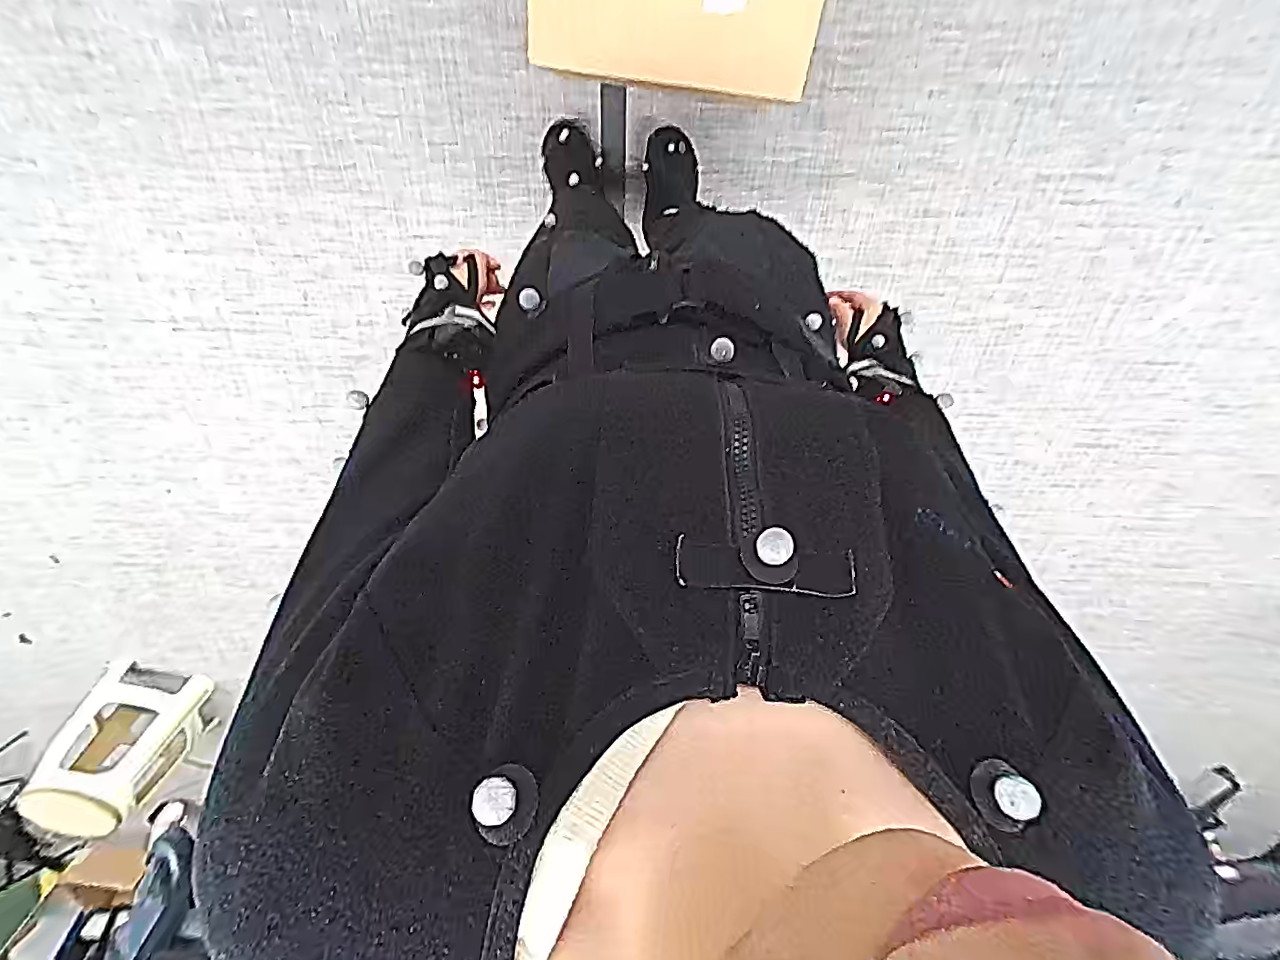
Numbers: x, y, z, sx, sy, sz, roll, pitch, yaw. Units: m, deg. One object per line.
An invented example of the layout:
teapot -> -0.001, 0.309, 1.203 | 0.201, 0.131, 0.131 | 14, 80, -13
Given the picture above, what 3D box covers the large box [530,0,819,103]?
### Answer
large box -> 0.049, -0.790, 0.832 | 0.408, 0.320, 0.320 | 5, 125, -4
